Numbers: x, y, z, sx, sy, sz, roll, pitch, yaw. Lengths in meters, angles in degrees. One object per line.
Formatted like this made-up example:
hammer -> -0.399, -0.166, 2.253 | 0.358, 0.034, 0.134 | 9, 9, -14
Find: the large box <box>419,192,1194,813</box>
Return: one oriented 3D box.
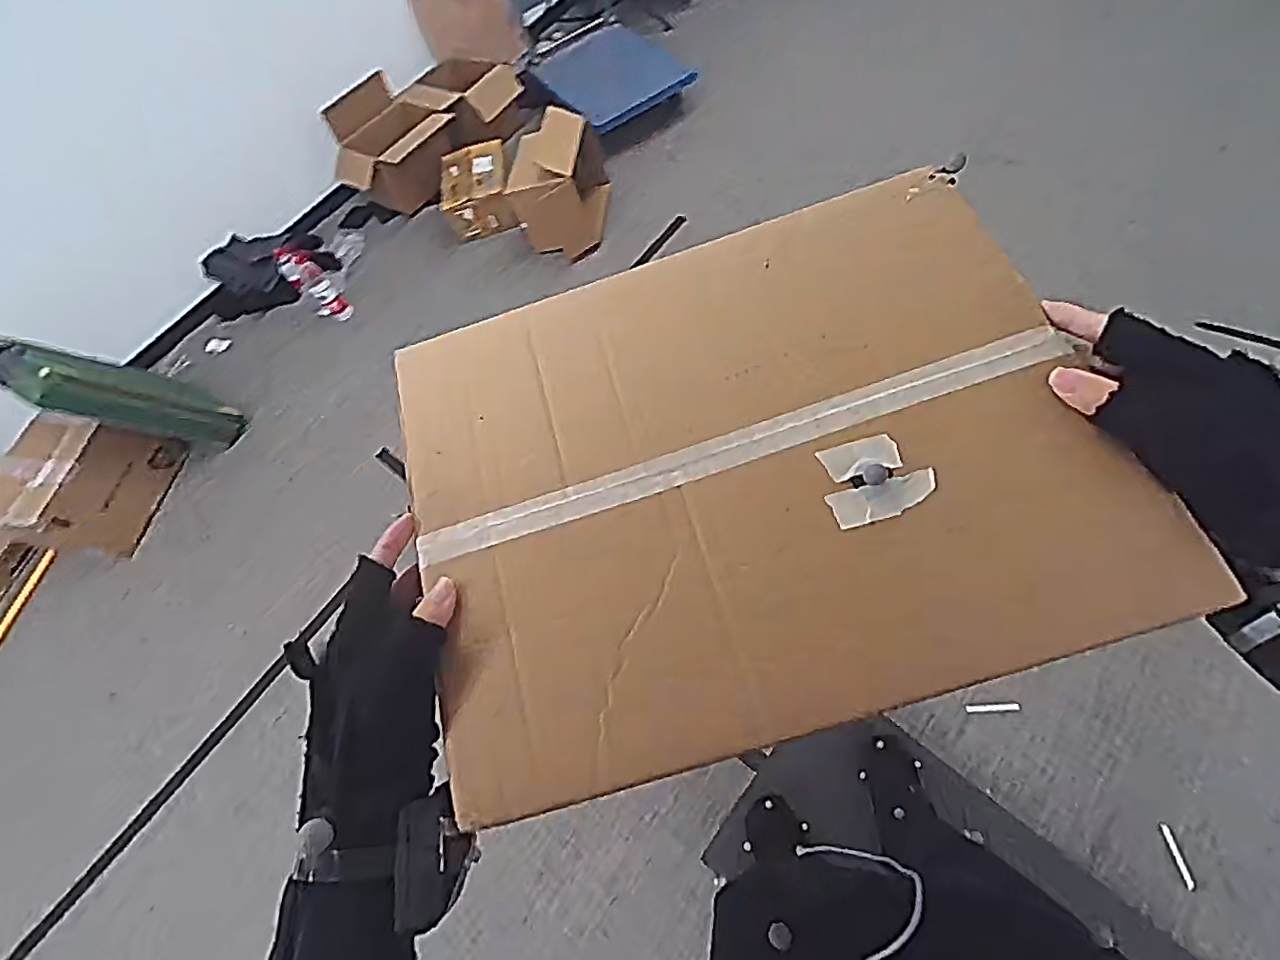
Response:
large box -> 0.082, 0.039, 0.480 | 0.408, 0.320, 0.320 | -18, 69, 2
